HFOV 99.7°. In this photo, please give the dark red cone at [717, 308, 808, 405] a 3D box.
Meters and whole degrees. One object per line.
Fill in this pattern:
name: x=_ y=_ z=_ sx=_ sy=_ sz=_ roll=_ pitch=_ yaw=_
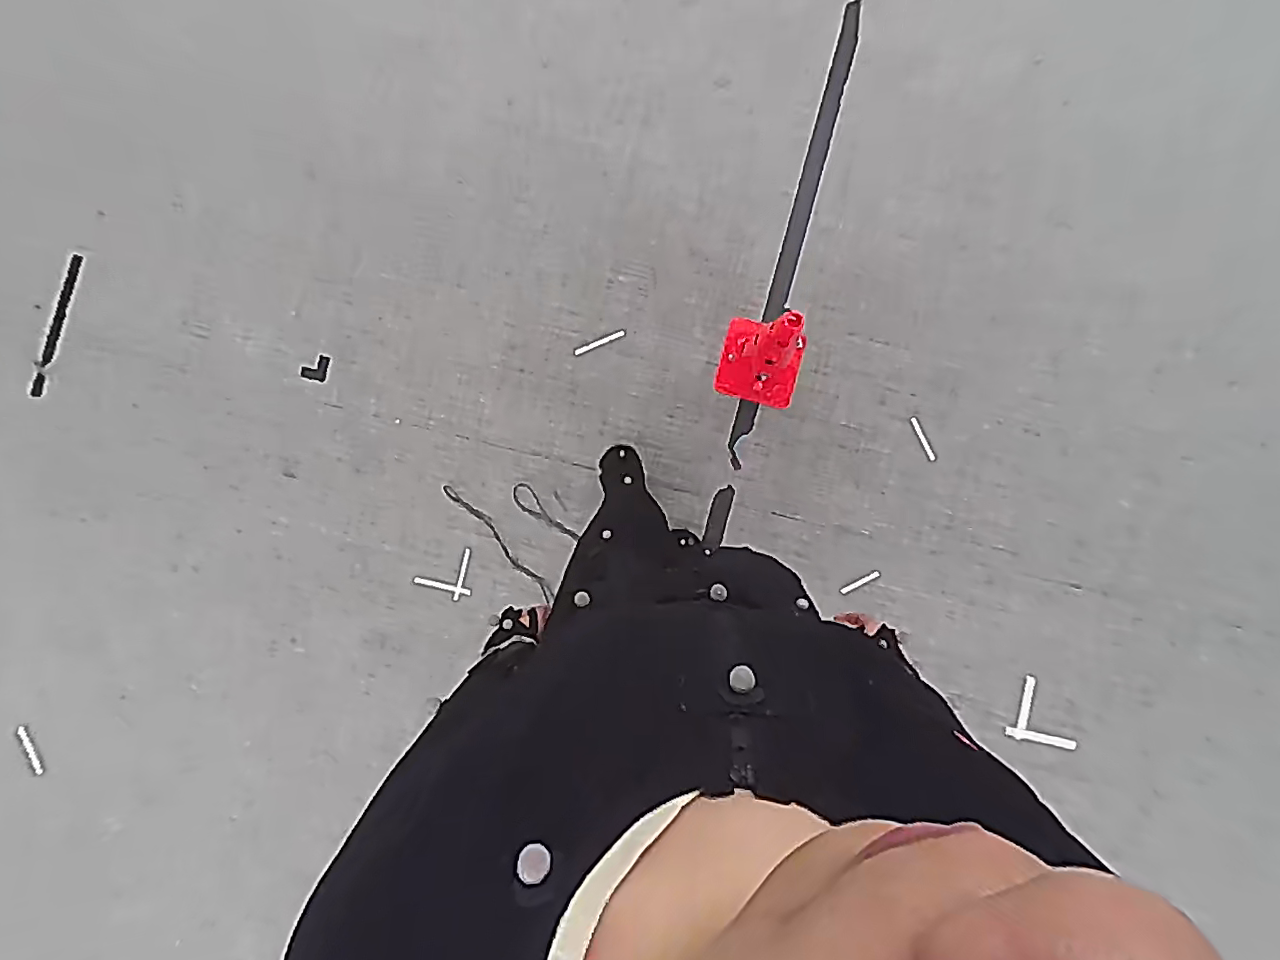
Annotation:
dark red cone: x=0.295 y=-0.298 z=1.184 sx=0.201 sy=0.394 sz=0.202 roll=14 pitch=90 yaw=3
